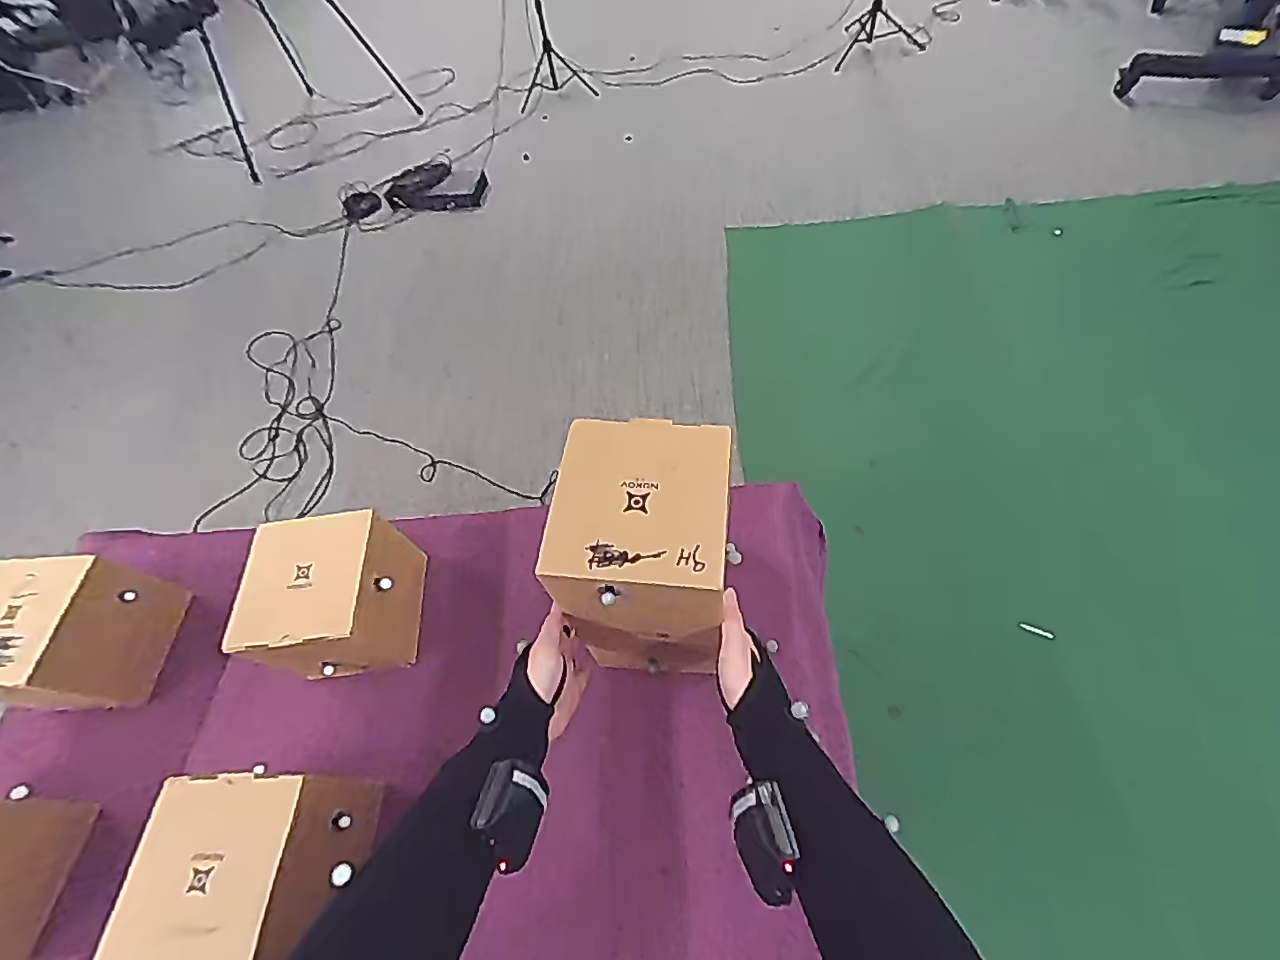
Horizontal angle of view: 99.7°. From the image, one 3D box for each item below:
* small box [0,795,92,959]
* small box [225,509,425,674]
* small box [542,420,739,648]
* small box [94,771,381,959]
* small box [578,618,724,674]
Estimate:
[{"bbox_3d":[-0.817,0.468,0.626,0.168,0.176,0.179,-1,58,6],"label":"small box"},{"bbox_3d":[-0.422,0.161,0.761,0.168,0.176,0.179,-7,60,2],"label":"small box"},{"bbox_3d":[0.013,0.059,0.569,0.168,0.176,0.179,3,58,9],"label":"small box"},{"bbox_3d":[-0.419,0.430,0.602,0.168,0.176,0.179,-4,59,6],"label":"small box"},{"bbox_3d":[0.025,0.142,0.710,0.168,0.176,0.179,1,59,8],"label":"small box"}]
